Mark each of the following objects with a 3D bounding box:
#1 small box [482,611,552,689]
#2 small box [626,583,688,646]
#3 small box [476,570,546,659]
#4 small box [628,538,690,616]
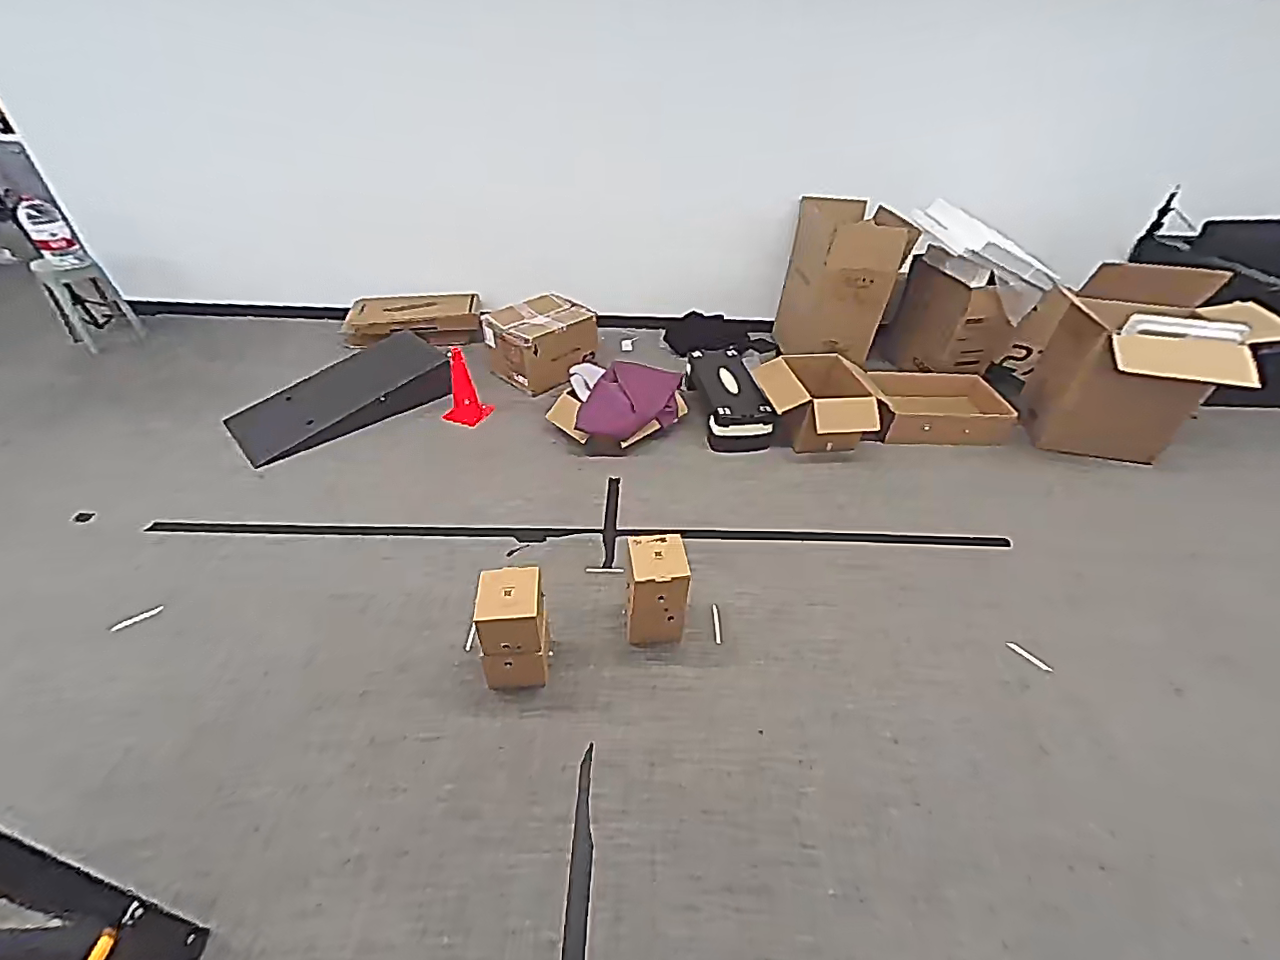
[{"bbox_3d":[-0.362,0.512,1.621,0.179,0.176,0.168,0,40,-4],"label":"small box"},{"bbox_3d":[0.049,0.421,1.757,0.179,0.176,0.168,-2,39,-6],"label":"small box"},{"bbox_3d":[-0.357,0.379,1.527,0.168,0.176,0.179,-4,41,-5],"label":"small box"},{"bbox_3d":[0.053,0.300,1.647,0.168,0.176,0.179,-3,40,-7],"label":"small box"}]
